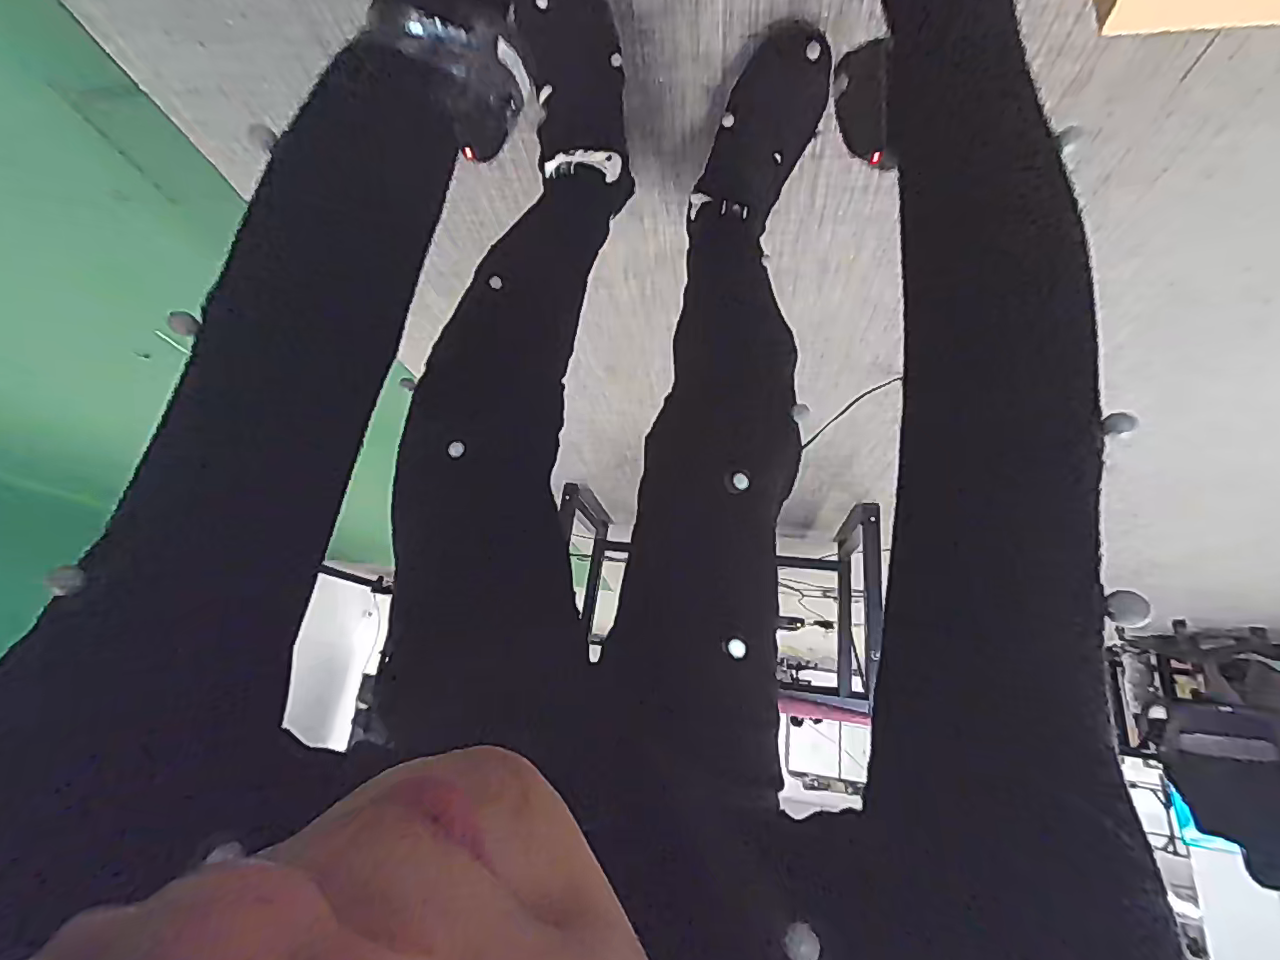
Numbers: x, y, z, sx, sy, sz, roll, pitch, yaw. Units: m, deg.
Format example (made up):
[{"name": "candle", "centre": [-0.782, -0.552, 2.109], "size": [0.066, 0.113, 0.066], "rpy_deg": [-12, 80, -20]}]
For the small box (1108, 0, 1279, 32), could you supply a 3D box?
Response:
[{"name": "small box", "centre": [0.457, -0.459, 0.375], "size": [0.179, 0.176, 0.168], "rpy_deg": [3, 159, 10]}]
